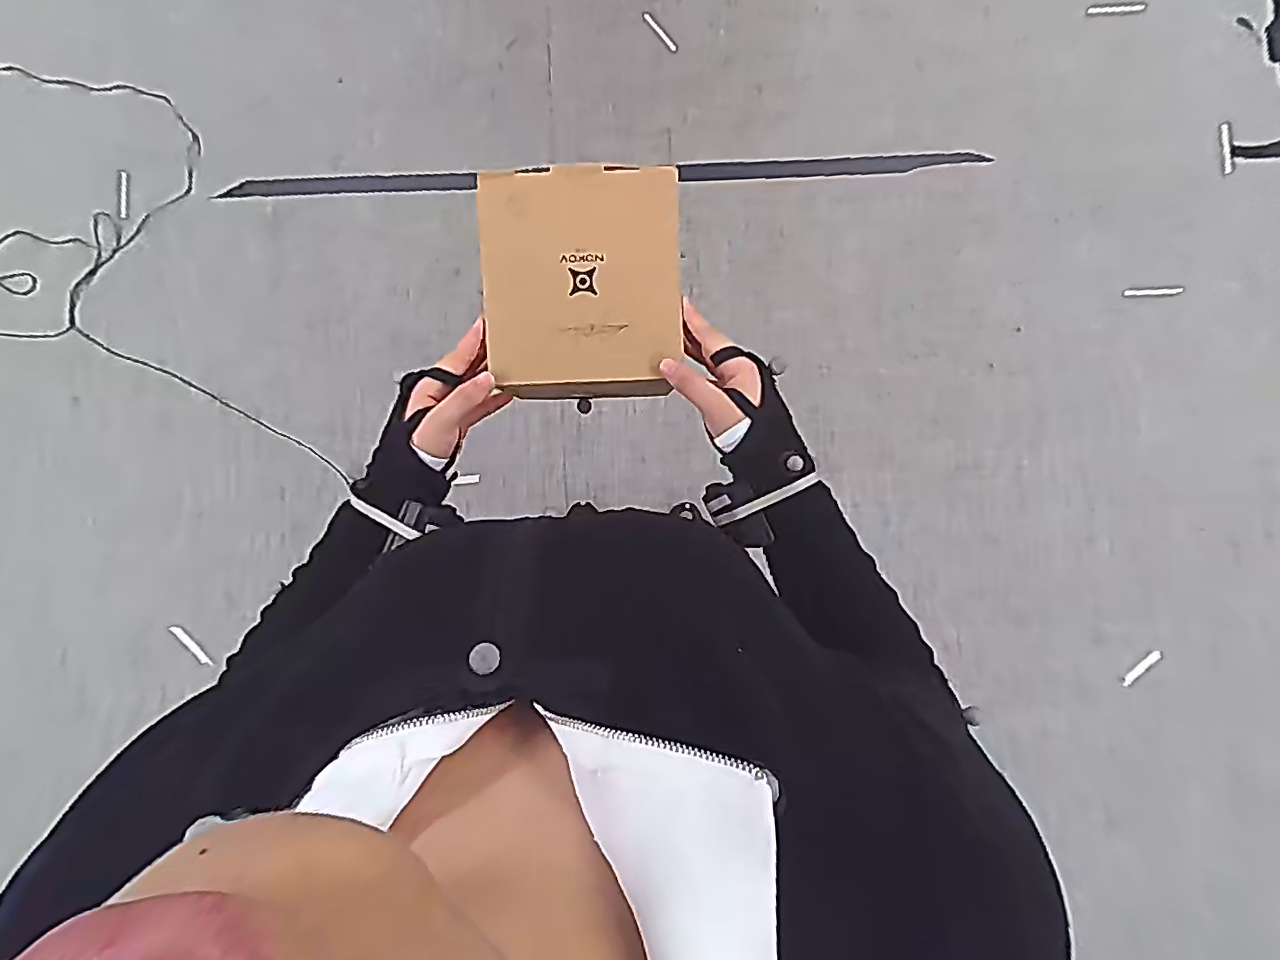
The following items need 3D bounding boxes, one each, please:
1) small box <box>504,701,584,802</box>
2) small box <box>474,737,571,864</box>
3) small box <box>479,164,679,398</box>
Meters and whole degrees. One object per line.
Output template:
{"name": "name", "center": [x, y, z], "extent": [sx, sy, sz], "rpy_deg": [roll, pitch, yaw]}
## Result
{"name": "small box", "center": [-0.230, 0.658, 1.308], "extent": [0.168, 0.176, 0.179], "rpy_deg": [2, 88, 2]}
{"name": "small box", "center": [-0.241, 0.668, 1.142], "extent": [0.168, 0.176, 0.179], "rpy_deg": [-3, 88, 2]}
{"name": "small box", "center": [-0.053, -0.177, 0.529], "extent": [0.168, 0.176, 0.179], "rpy_deg": [-2, 94, -1]}
